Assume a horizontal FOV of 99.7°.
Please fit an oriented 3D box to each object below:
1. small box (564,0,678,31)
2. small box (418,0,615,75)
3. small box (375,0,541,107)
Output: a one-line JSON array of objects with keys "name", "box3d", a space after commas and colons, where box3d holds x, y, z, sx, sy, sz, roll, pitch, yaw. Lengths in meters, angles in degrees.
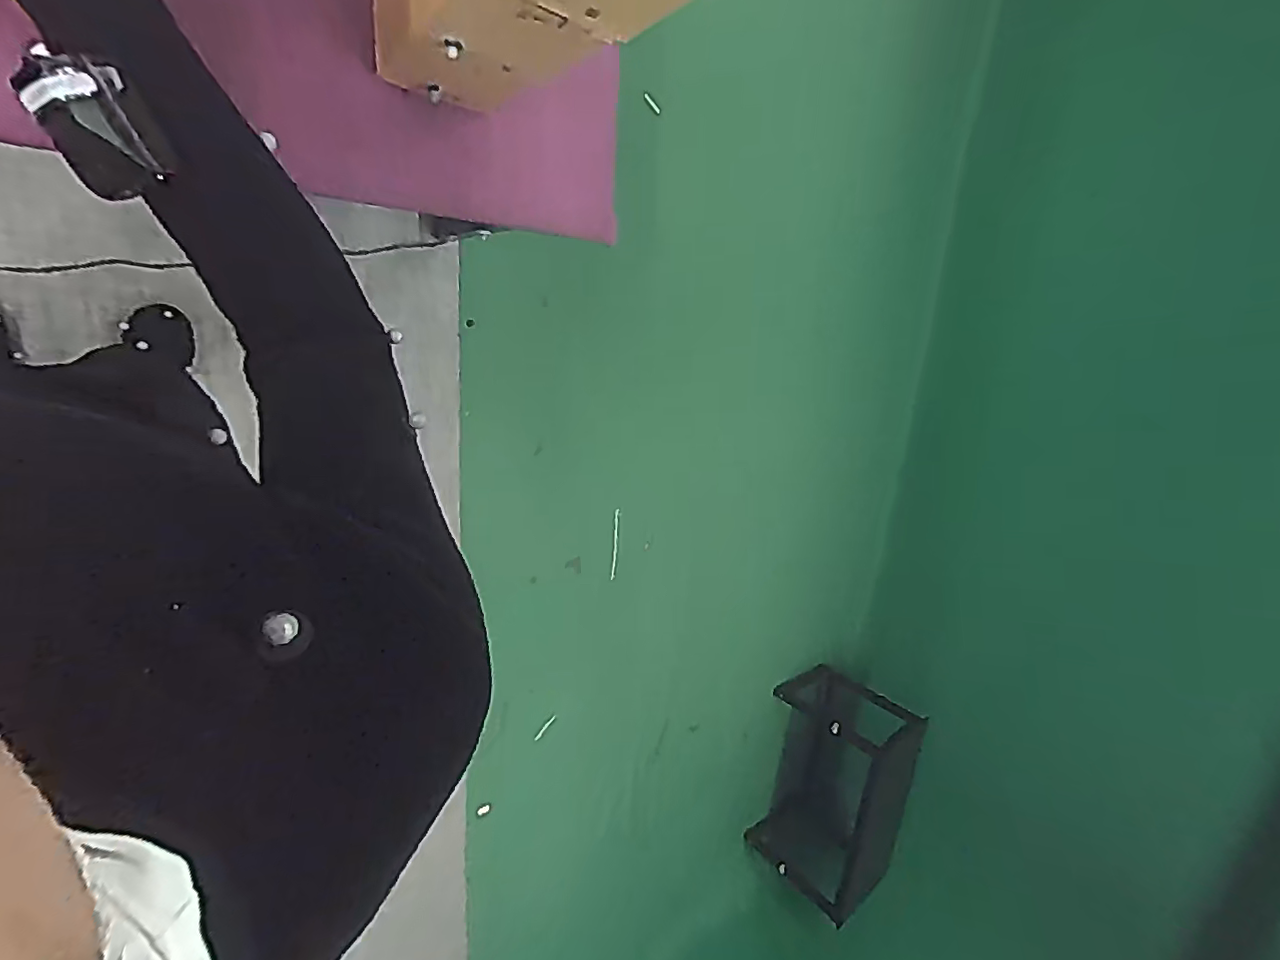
[{"name": "small box", "box3d": [-0.021, -0.540, 0.467, 0.168, 0.176, 0.179, -10, 110, -37]}, {"name": "small box", "box3d": [-0.133, -0.578, 0.579, 0.168, 0.176, 0.179, -8, 108, -38]}, {"name": "small box", "box3d": [-0.236, -0.623, 0.698, 0.168, 0.176, 0.179, -7, 110, -38]}]
